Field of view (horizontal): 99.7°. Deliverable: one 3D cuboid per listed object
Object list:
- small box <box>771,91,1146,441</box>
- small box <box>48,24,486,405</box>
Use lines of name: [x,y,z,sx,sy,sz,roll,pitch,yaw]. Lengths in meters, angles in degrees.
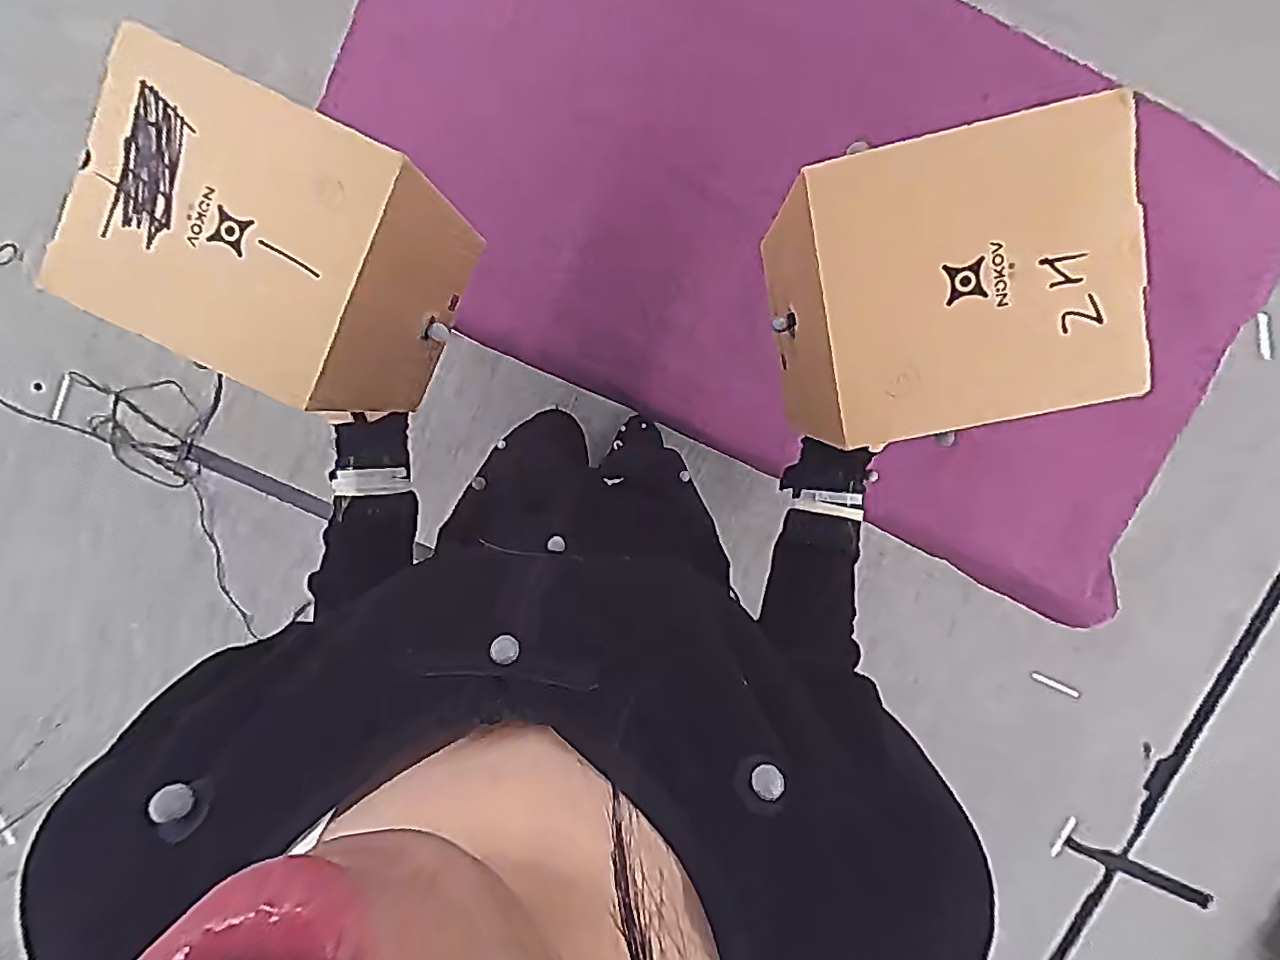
small box: [0.199,-0.128,0.389,0.179,0.176,0.168,-11,99,6]
small box: [-0.243,-0.161,0.399,0.179,0.176,0.168,25,97,-3]
